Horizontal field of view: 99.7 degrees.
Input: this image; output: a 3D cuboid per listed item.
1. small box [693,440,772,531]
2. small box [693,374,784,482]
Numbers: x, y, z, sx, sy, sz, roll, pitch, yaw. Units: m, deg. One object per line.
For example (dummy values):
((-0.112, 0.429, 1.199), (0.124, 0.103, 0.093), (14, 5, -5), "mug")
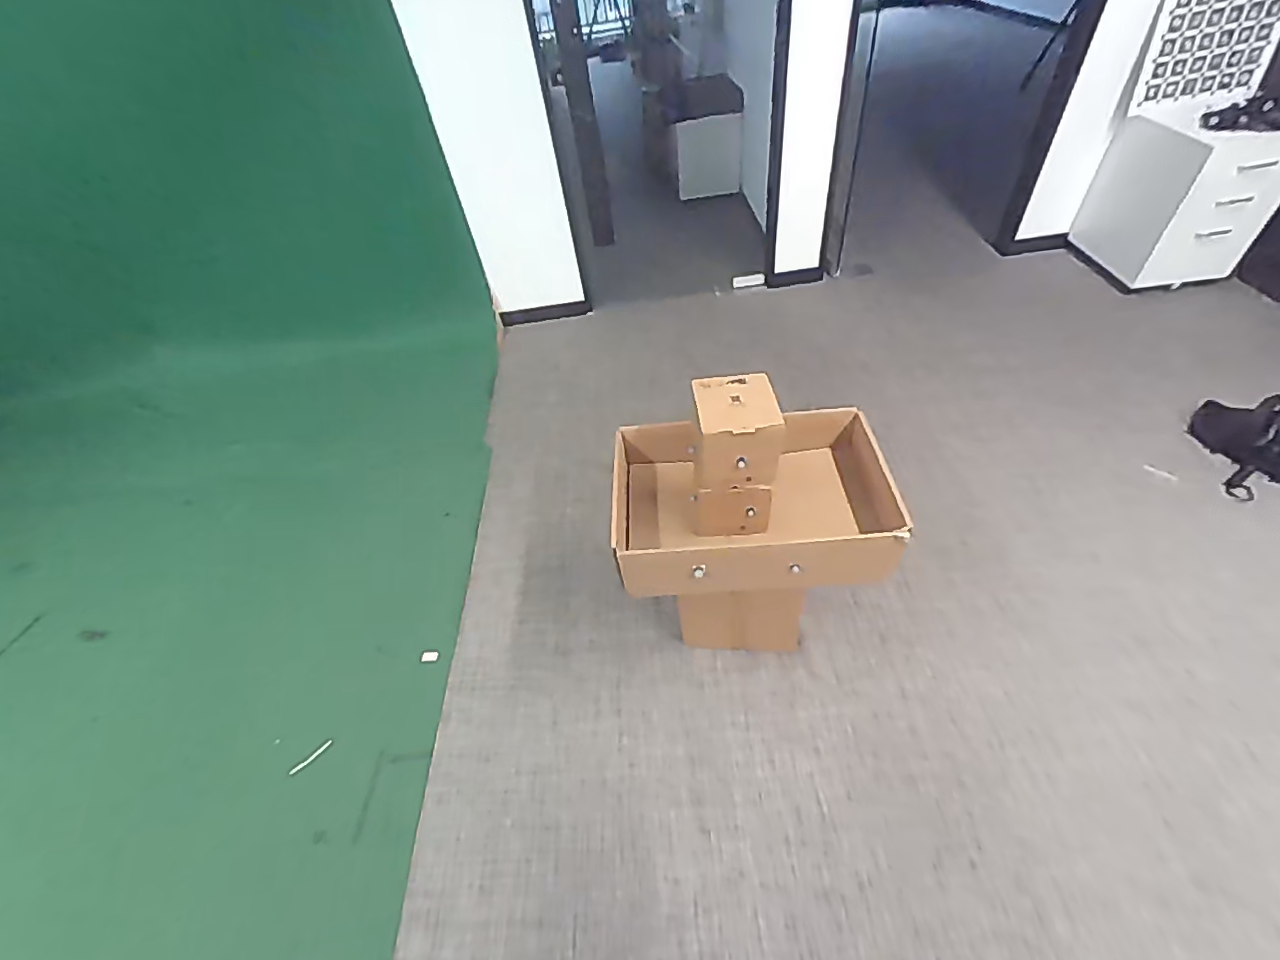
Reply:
((0.215, 0.010, 1.293), (0.168, 0.176, 0.179), (-3, 45, 2), "small box")
((0.206, -0.107, 1.178), (0.168, 0.176, 0.179), (-4, 48, 1), "small box")
